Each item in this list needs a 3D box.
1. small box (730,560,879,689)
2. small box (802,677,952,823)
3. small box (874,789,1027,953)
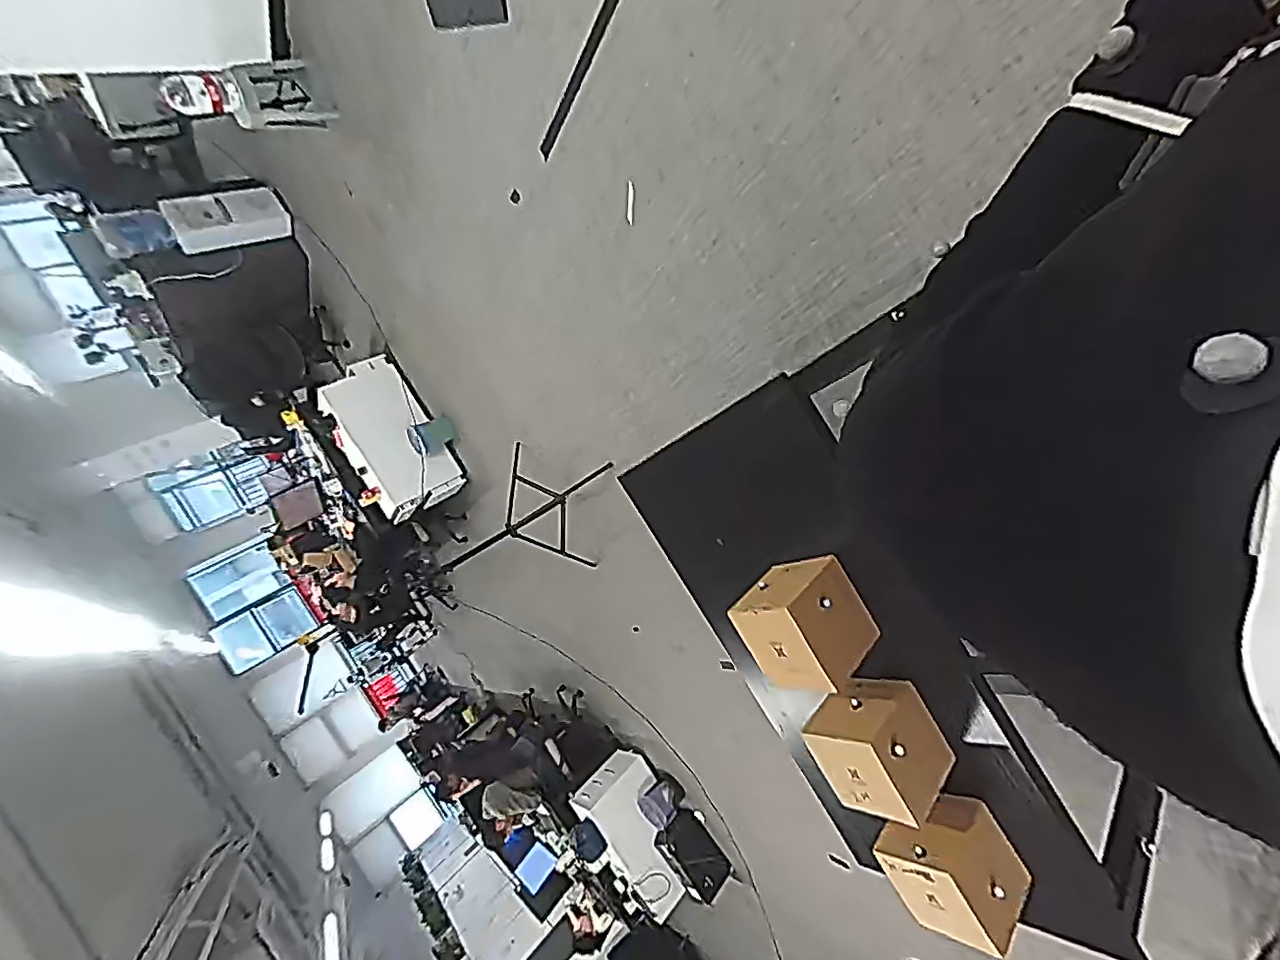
[{"bbox_3d":[0.312,0.265,1.024,0.179,0.176,0.168,57,148,-2],"label":"small box"},{"bbox_3d":[0.453,0.499,1.033,0.179,0.176,0.168,59,147,-3],"label":"small box"},{"bbox_3d":[0.598,0.731,1.040,0.179,0.176,0.168,57,146,0],"label":"small box"}]
